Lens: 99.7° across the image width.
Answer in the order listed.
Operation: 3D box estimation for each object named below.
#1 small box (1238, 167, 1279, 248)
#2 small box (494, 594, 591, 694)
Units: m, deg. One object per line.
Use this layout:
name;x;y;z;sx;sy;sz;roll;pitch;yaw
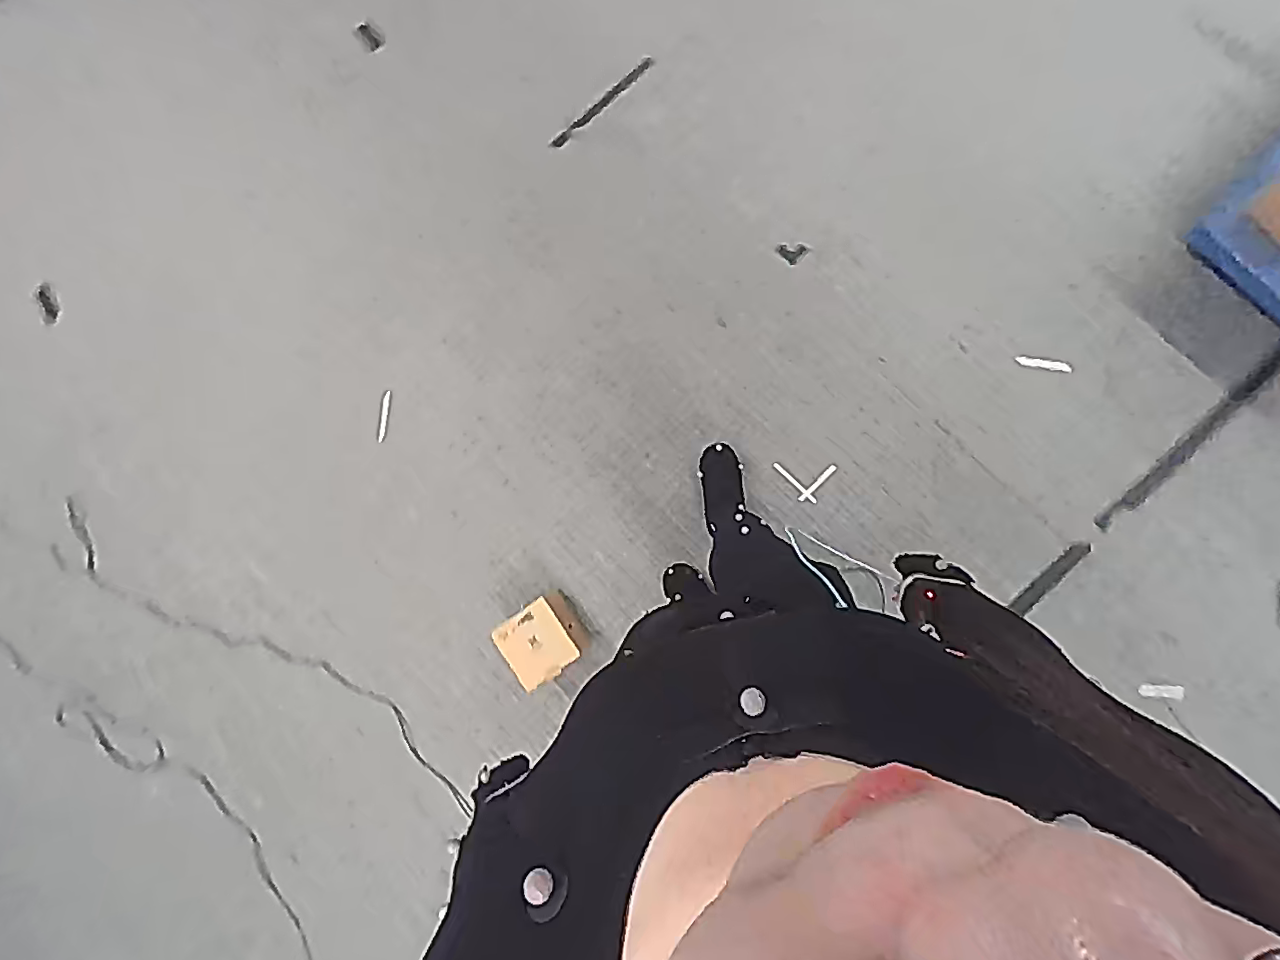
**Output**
small box;1.552;-0.657;1.222;0.168;0.176;0.179;-40;84;-1
small box;-0.248;0.422;1.426;0.168;0.176;0.179;-36;84;0
